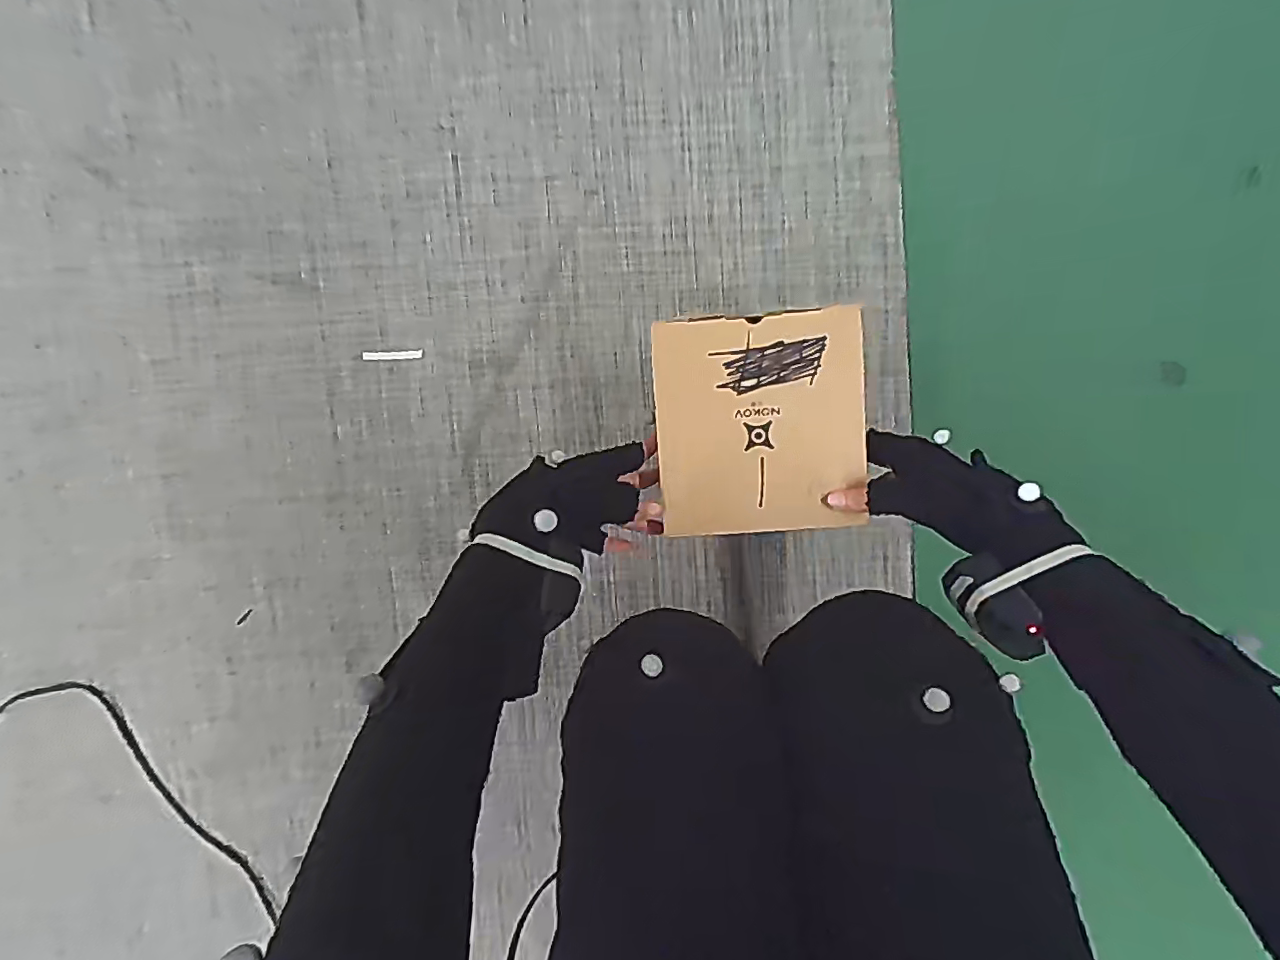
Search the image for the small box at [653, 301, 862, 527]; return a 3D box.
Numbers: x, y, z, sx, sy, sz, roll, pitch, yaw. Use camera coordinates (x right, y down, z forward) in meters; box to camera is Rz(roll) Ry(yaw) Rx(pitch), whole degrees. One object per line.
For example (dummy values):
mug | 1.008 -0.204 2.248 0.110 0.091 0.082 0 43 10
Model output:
small box | 0.098 -0.057 0.515 0.168 0.176 0.179 -4 95 4
